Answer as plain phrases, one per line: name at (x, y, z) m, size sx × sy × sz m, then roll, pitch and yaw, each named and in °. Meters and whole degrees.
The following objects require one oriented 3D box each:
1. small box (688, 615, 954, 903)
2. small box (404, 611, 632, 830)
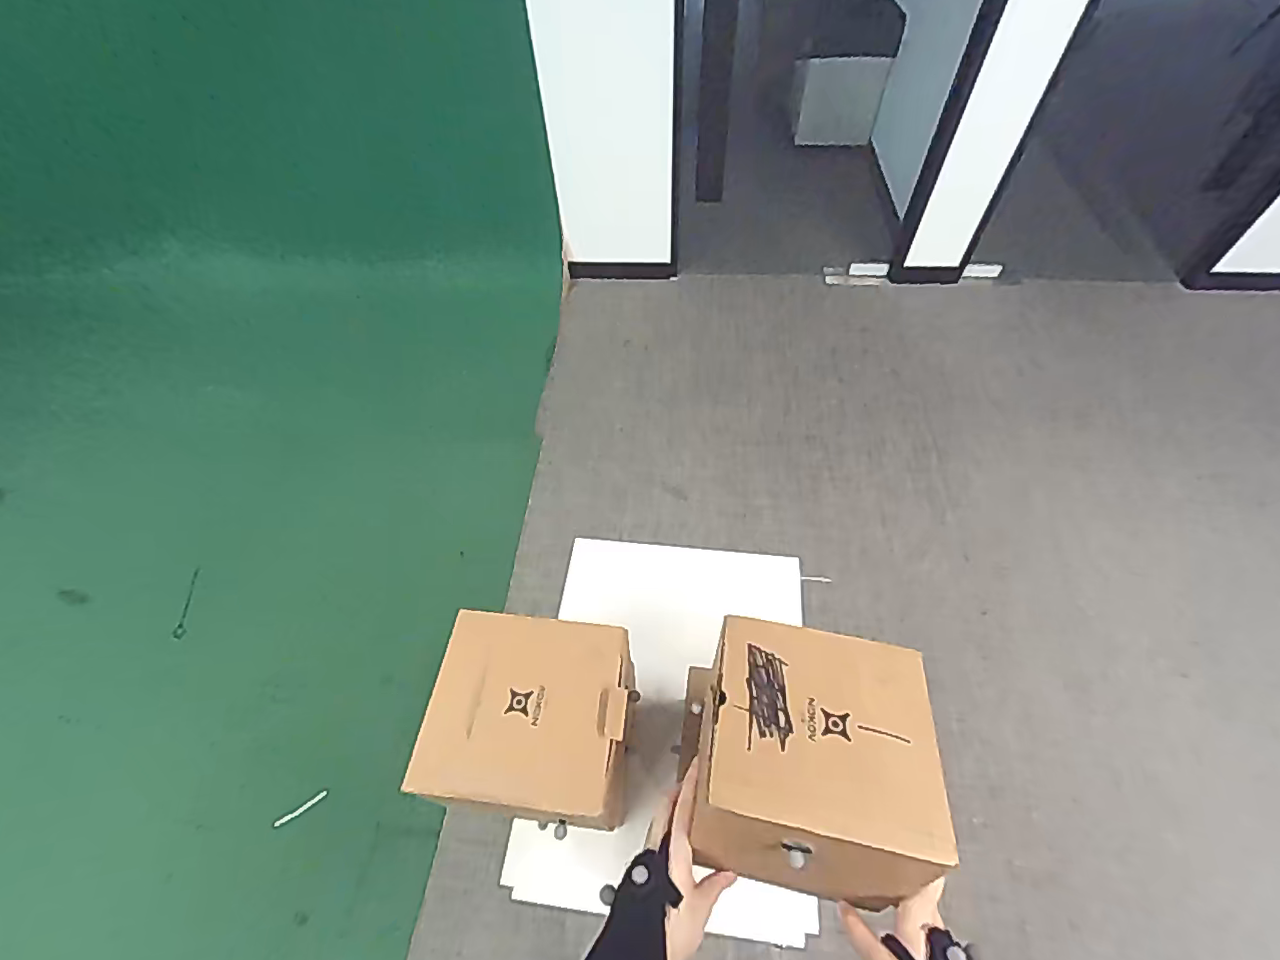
small box at (0.144, 0.251, 0.488) m, size 0.179 × 0.176 × 0.168 m, roll 11°, pitch 44°, yaw 7°
small box at (-0.104, 0.253, 0.560) m, size 0.179 × 0.176 × 0.168 m, roll 4°, pitch 53°, yaw 5°
